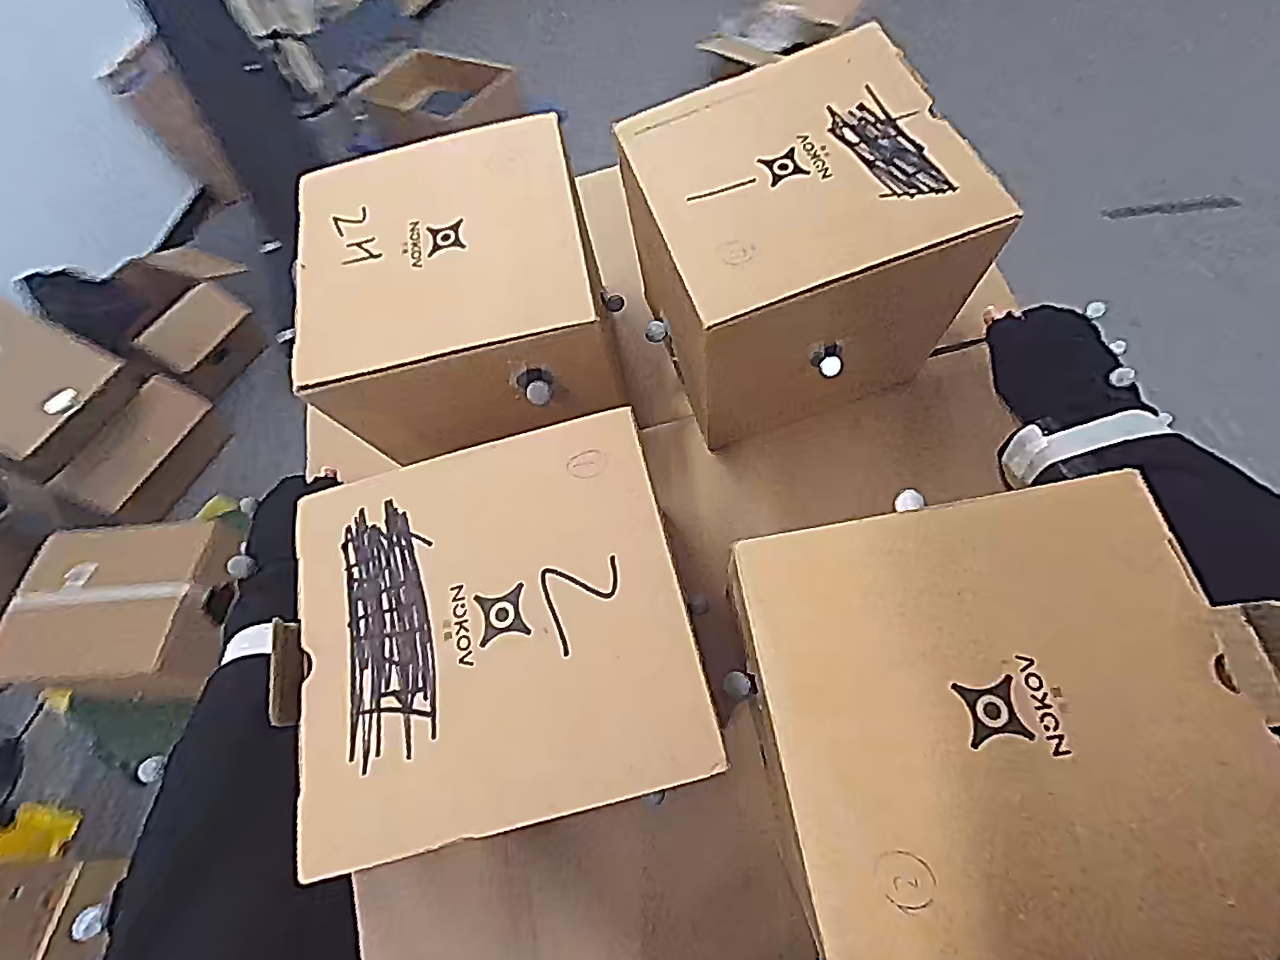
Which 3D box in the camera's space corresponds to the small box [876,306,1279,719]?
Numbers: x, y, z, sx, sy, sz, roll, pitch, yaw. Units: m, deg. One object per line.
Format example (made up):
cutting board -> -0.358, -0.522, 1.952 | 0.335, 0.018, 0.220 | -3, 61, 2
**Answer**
small box -> 0.240, 0.024, 0.285 | 0.179, 0.176, 0.168 | 3, 76, 8
